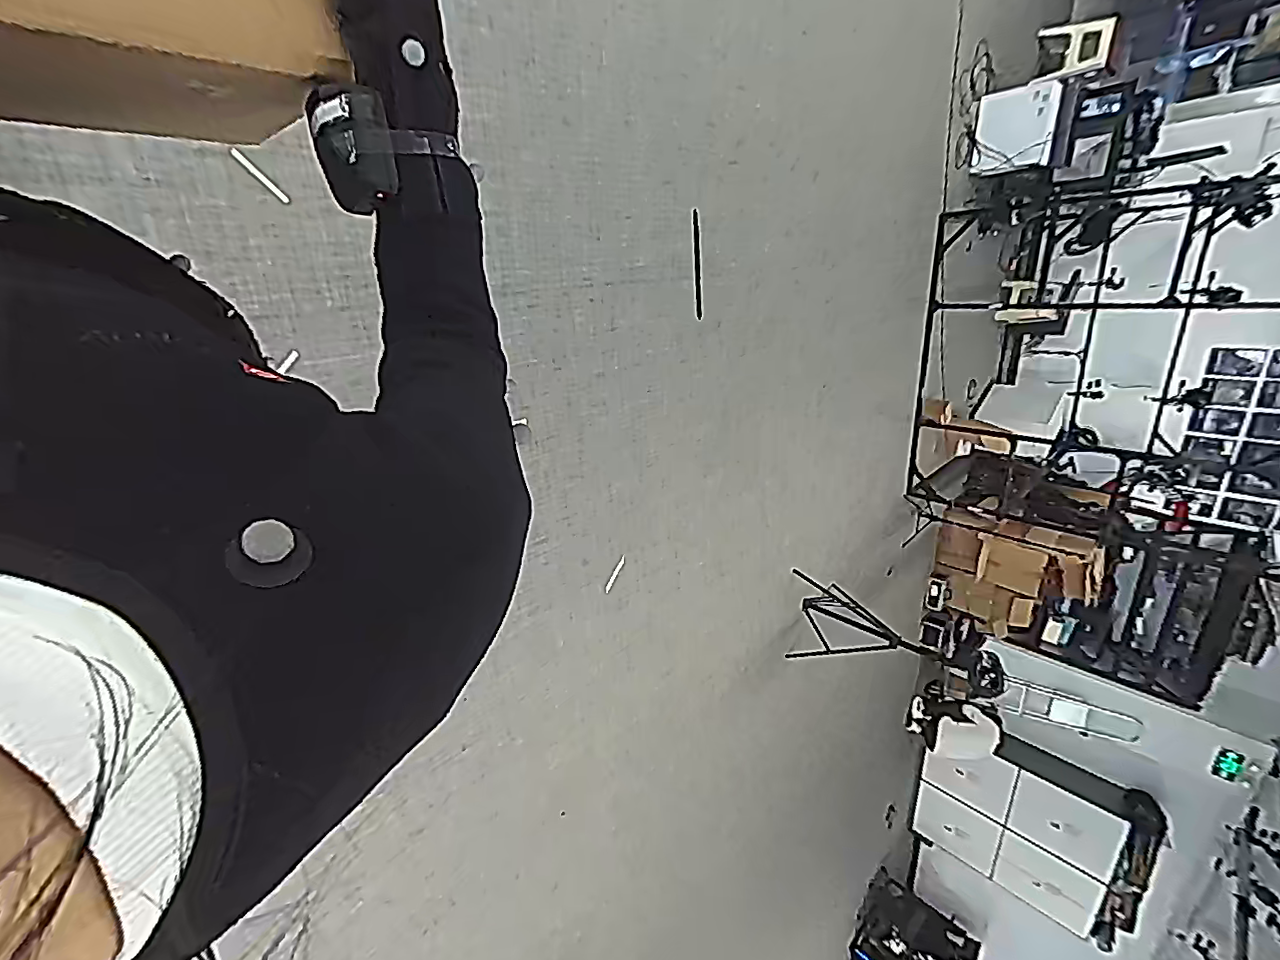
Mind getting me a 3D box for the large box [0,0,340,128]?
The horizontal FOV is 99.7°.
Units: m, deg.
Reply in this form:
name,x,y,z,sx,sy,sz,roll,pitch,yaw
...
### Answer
name,x,y,z,sx,sy,sz,roll,pitch,yaw
large box,-0.438,-0.388,0.258,0.408,0.320,0.320,-21,123,-39
